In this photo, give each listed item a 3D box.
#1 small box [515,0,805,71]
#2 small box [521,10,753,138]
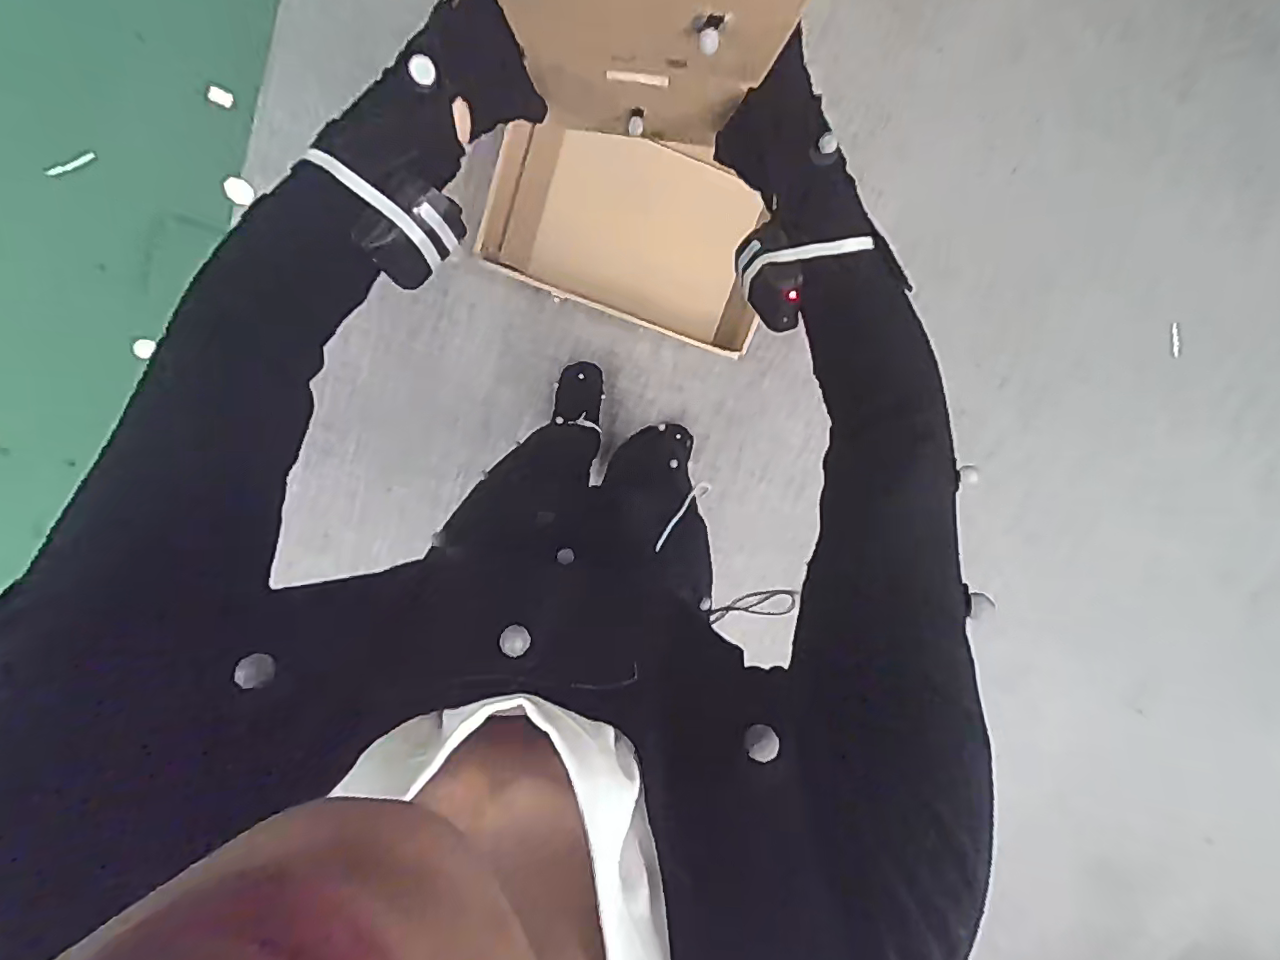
[{"bbox_3d":[0.015,-0.328,0.254,0.168,0.176,0.179,5,109,-3],"label":"small box"},{"bbox_3d":[0.004,-0.390,0.425,0.168,0.176,0.179,3,108,-1],"label":"small box"}]
